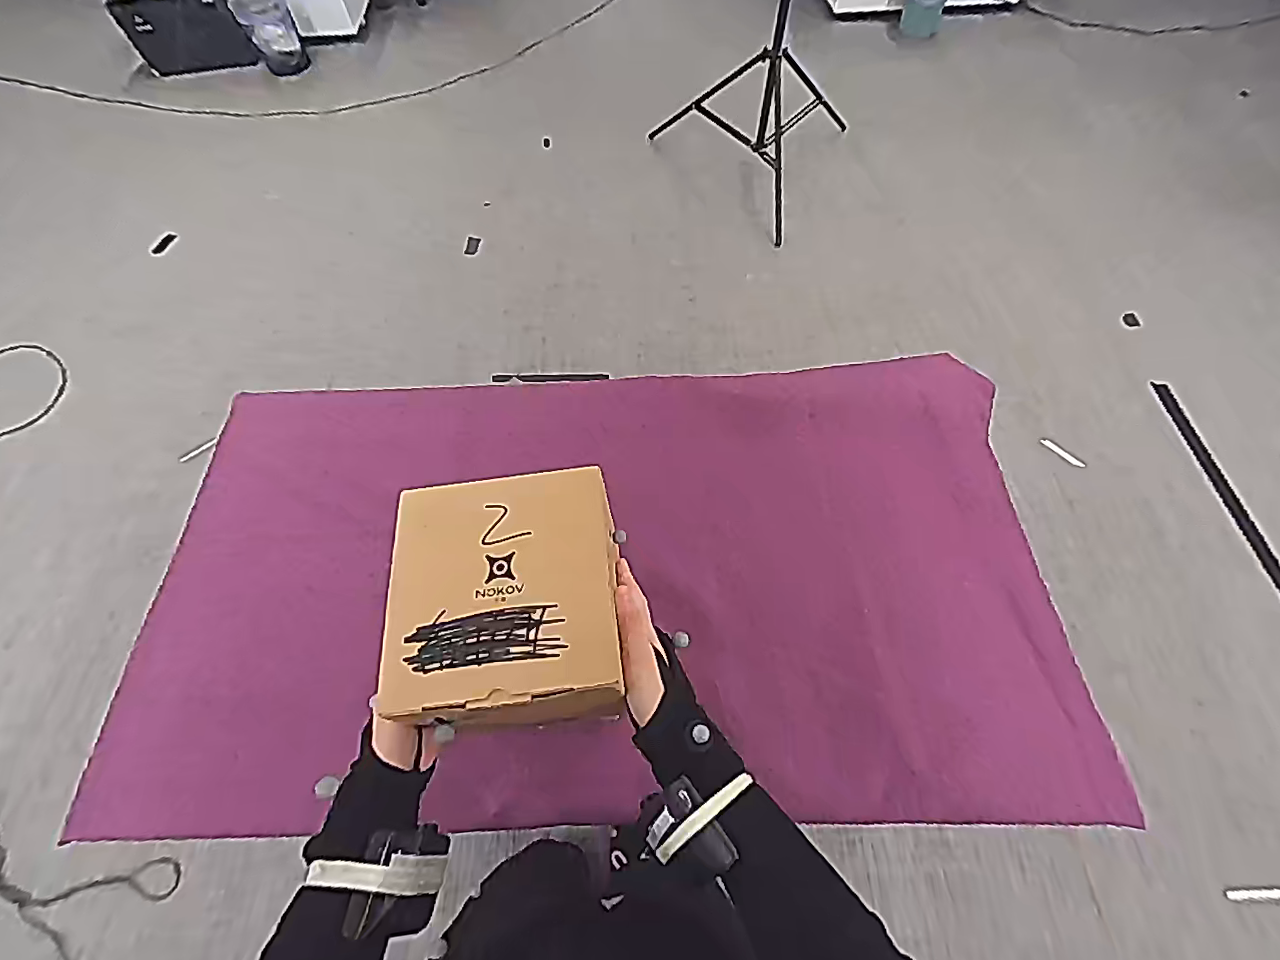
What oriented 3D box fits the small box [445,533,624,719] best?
[{"bbox_3d":[-0.107,0.176,0.636,0.168,0.176,0.179,-1,60,2],"label":"small box"}]
